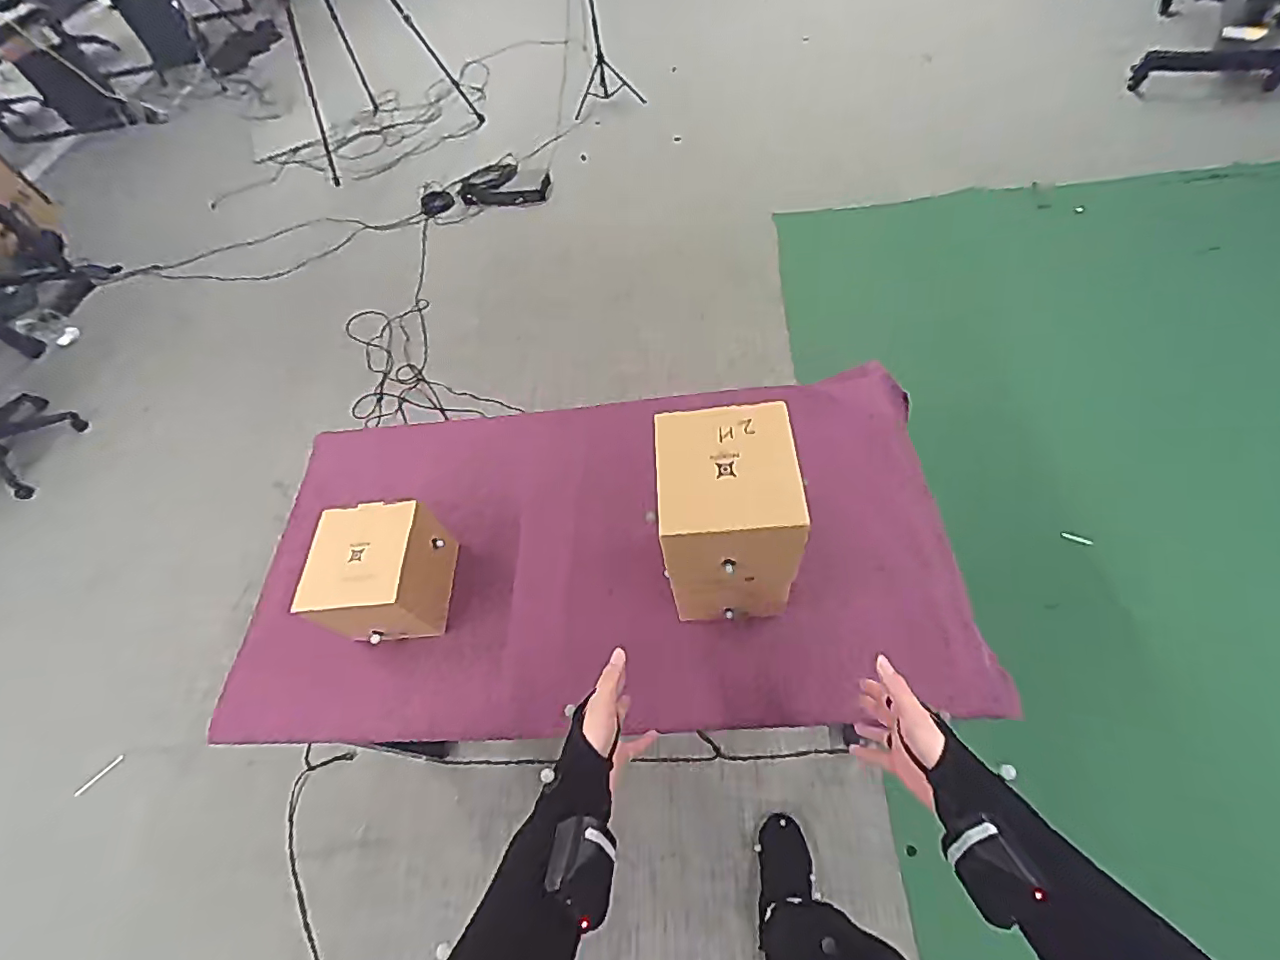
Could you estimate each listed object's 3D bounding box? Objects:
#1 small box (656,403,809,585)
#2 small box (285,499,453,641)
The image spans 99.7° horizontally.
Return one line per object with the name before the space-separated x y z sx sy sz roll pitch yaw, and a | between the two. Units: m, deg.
small box | 0.111 0.027 0.688 0.168 0.176 0.179 -4 57 6
small box | -0.425 0.151 0.886 0.168 0.176 0.179 -5 57 6
